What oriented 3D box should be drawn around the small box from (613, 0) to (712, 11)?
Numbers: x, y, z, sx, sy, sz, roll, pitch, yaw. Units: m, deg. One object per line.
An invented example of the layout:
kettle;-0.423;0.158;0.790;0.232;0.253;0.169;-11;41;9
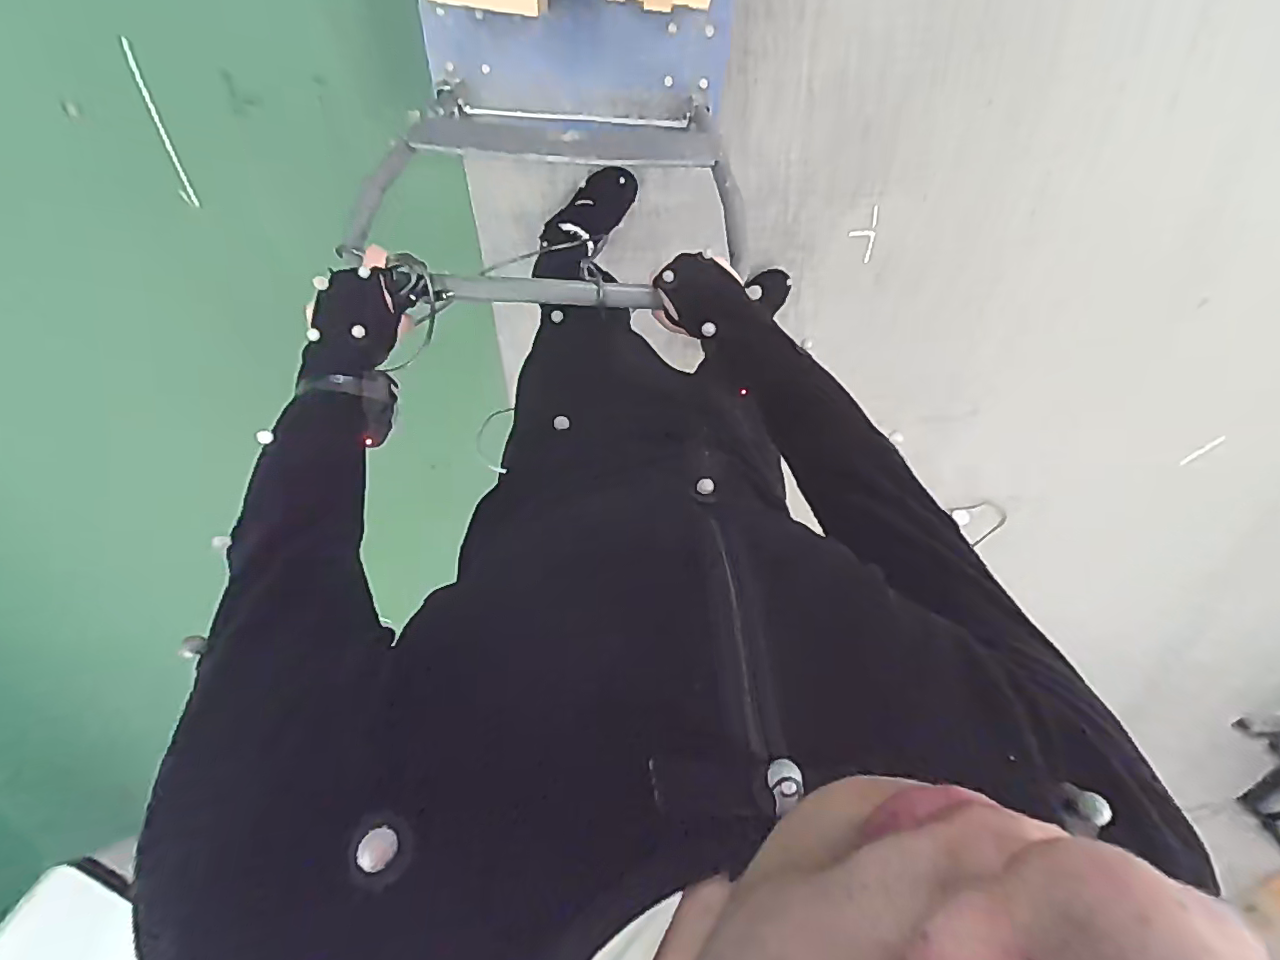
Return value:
small box;0.036;-0.864;0.847;0.168;0.176;0.179;2;134;-3
